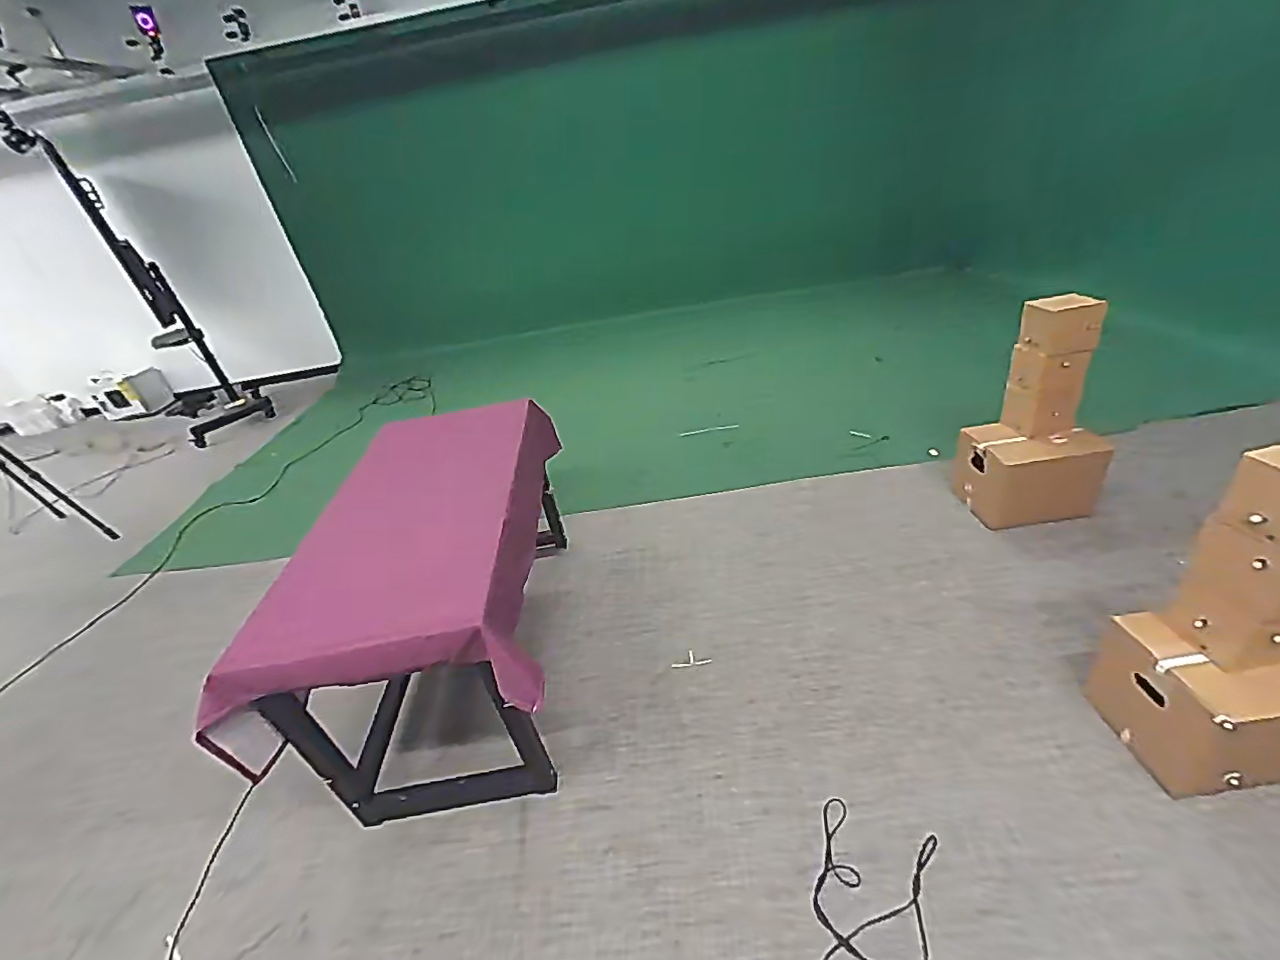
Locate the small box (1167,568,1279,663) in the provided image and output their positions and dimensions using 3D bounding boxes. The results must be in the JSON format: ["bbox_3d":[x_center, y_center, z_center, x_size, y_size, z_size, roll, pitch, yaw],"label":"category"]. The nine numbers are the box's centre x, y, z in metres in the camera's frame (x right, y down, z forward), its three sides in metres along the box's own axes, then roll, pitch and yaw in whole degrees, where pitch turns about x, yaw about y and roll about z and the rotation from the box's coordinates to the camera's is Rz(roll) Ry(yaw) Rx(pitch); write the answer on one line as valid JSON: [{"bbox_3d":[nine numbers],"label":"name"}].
[{"bbox_3d":[1.399,0.304,1.265,0.179,0.176,0.168,-12,31,0],"label":"small box"}]

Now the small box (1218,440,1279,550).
[{"bbox_3d":[1.348,0.027,1.092,0.179,0.176,0.168,-13,31,-3],"label":"small box"}]

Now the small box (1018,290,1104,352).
[{"bbox_3d":[1.529,-0.580,1.976,0.179,0.176,0.168,-10,29,4],"label":"small box"}]

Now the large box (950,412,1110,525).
[{"bbox_3d":[1.562,-0.049,2.207,0.408,0.320,0.320,-9,32,2],"label":"large box"}]

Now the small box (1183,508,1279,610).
[{"bbox_3d":[1.369,0.165,1.180,0.168,0.176,0.179,-11,31,-1],"label":"small box"}]

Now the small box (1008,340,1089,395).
[{"bbox_3d":[1.549,-0.442,2.061,0.179,0.176,0.168,-10,29,3],"label":"small box"}]
